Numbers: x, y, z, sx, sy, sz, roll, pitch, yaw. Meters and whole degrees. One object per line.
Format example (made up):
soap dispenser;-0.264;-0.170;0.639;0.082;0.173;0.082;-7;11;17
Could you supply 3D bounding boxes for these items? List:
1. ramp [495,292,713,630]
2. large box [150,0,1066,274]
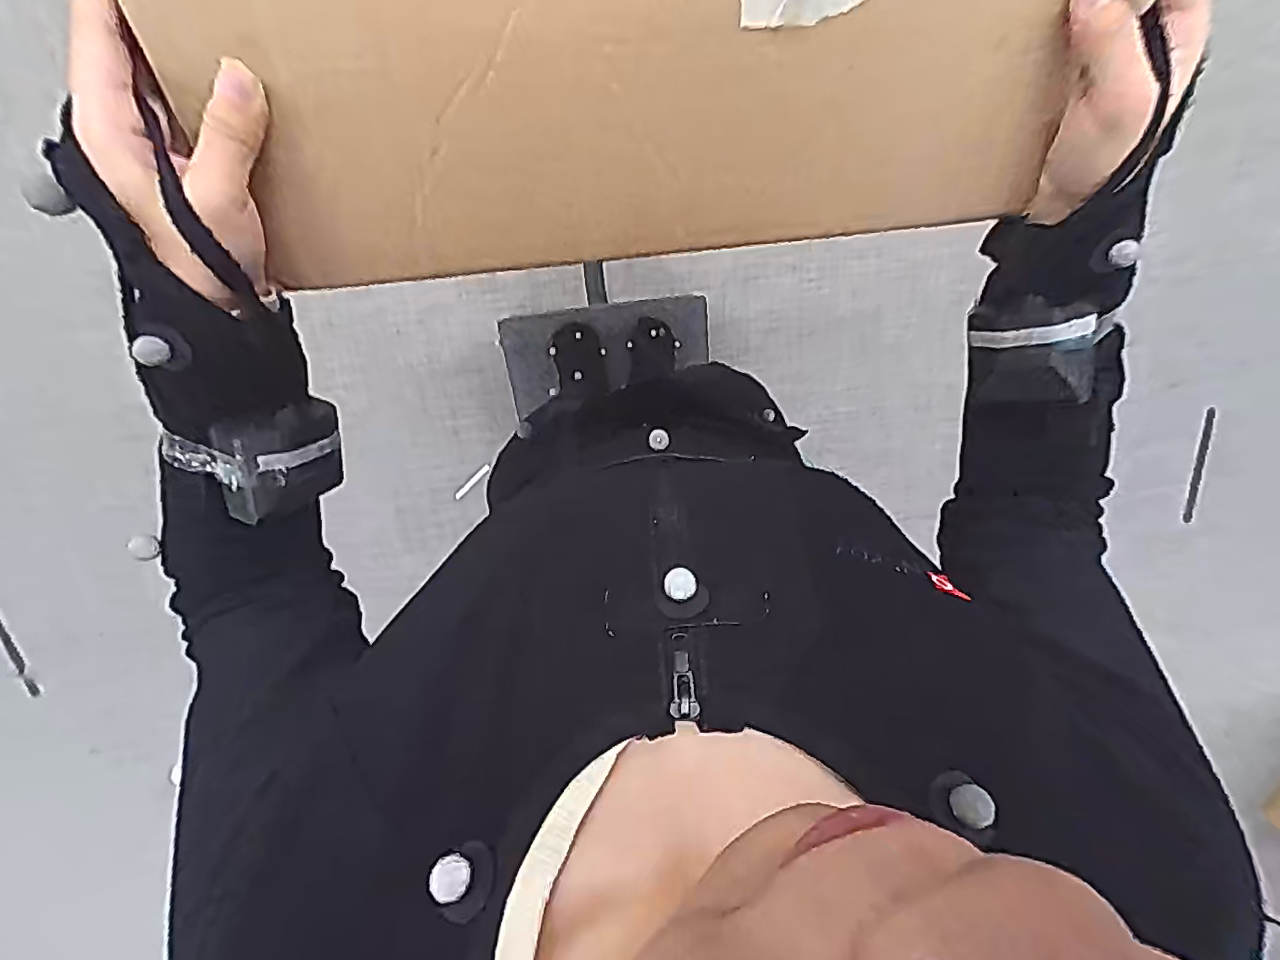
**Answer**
ramp;-0.046;0.020;1.491;0.509;0.206;0.991;-9;110;-3
large box;-0.023;-0.342;0.318;0.408;0.320;0.320;-7;128;-3
